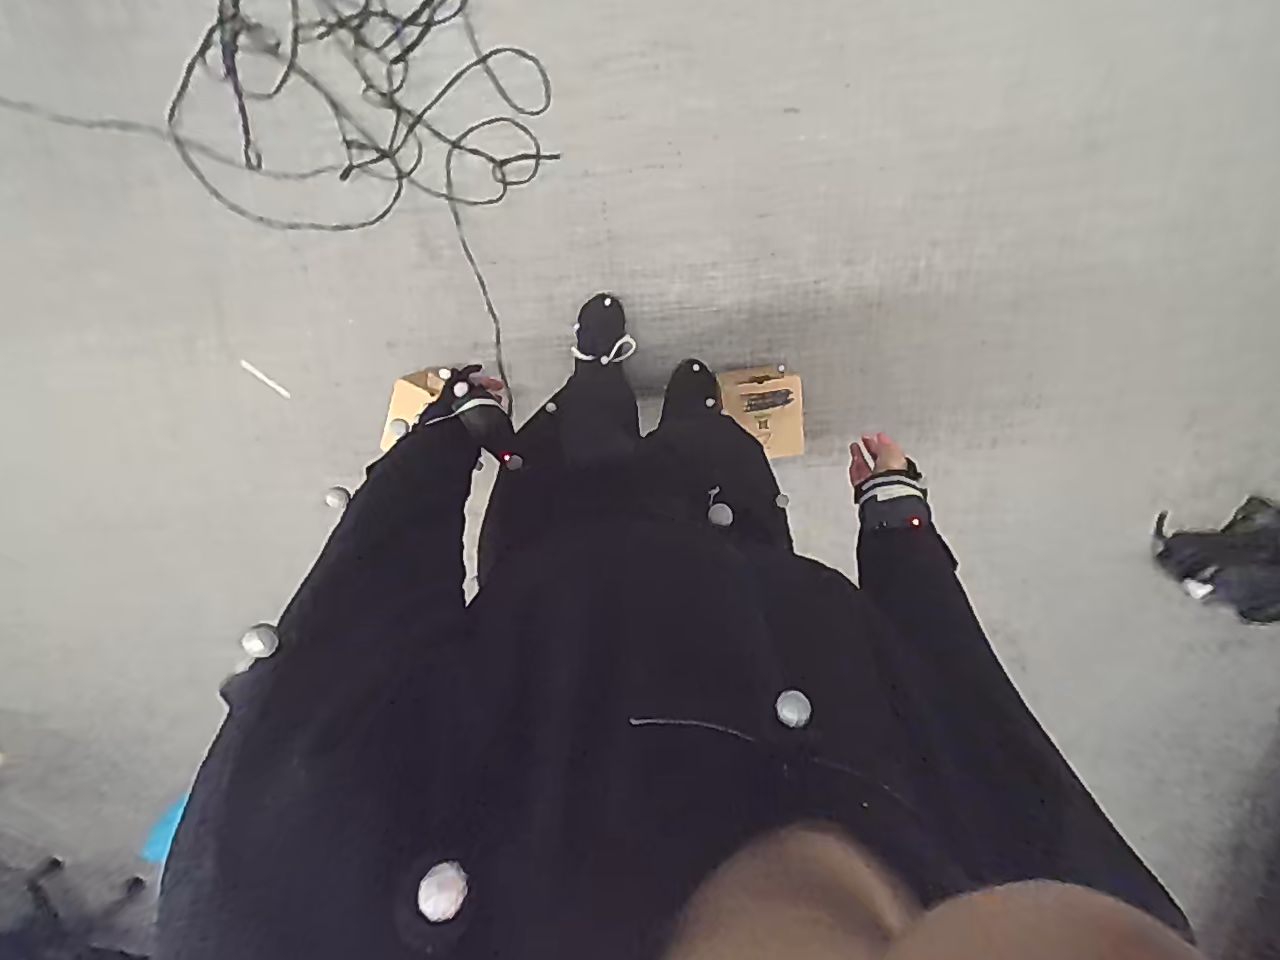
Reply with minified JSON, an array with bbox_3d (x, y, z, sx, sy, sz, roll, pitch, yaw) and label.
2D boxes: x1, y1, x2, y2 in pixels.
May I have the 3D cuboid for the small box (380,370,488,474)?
[{"bbox_3d":[-0.477,-0.142,1.273,0.168,0.176,0.179,22,109,-4],"label":"small box"}]
